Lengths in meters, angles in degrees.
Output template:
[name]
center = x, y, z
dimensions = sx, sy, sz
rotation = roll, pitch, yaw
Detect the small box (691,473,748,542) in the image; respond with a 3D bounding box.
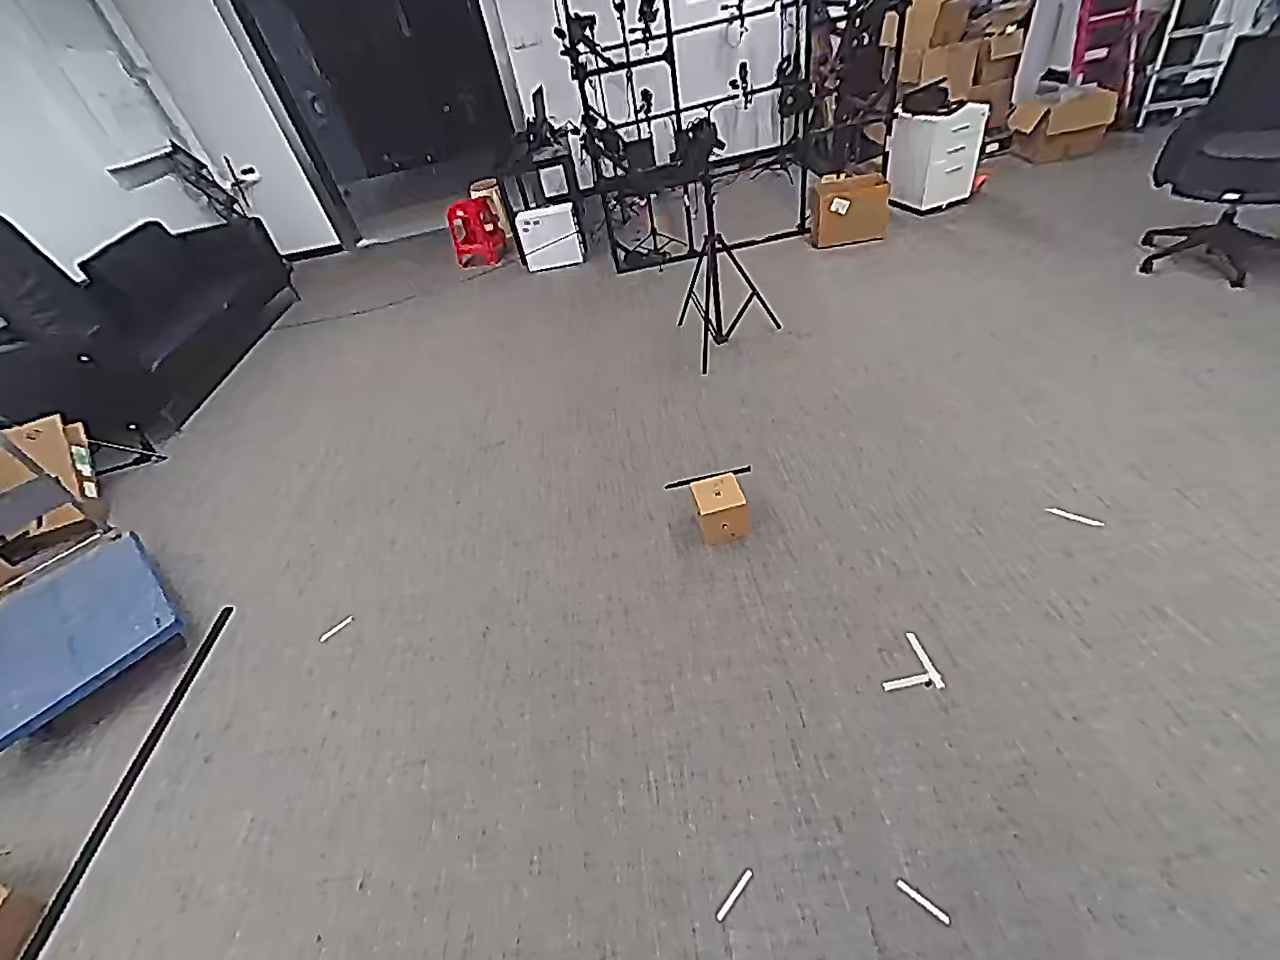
[small box]
center = 0.294, 0.108, 1.989
dimensions = 0.168, 0.176, 0.179
rotation = -14, 40, -1
